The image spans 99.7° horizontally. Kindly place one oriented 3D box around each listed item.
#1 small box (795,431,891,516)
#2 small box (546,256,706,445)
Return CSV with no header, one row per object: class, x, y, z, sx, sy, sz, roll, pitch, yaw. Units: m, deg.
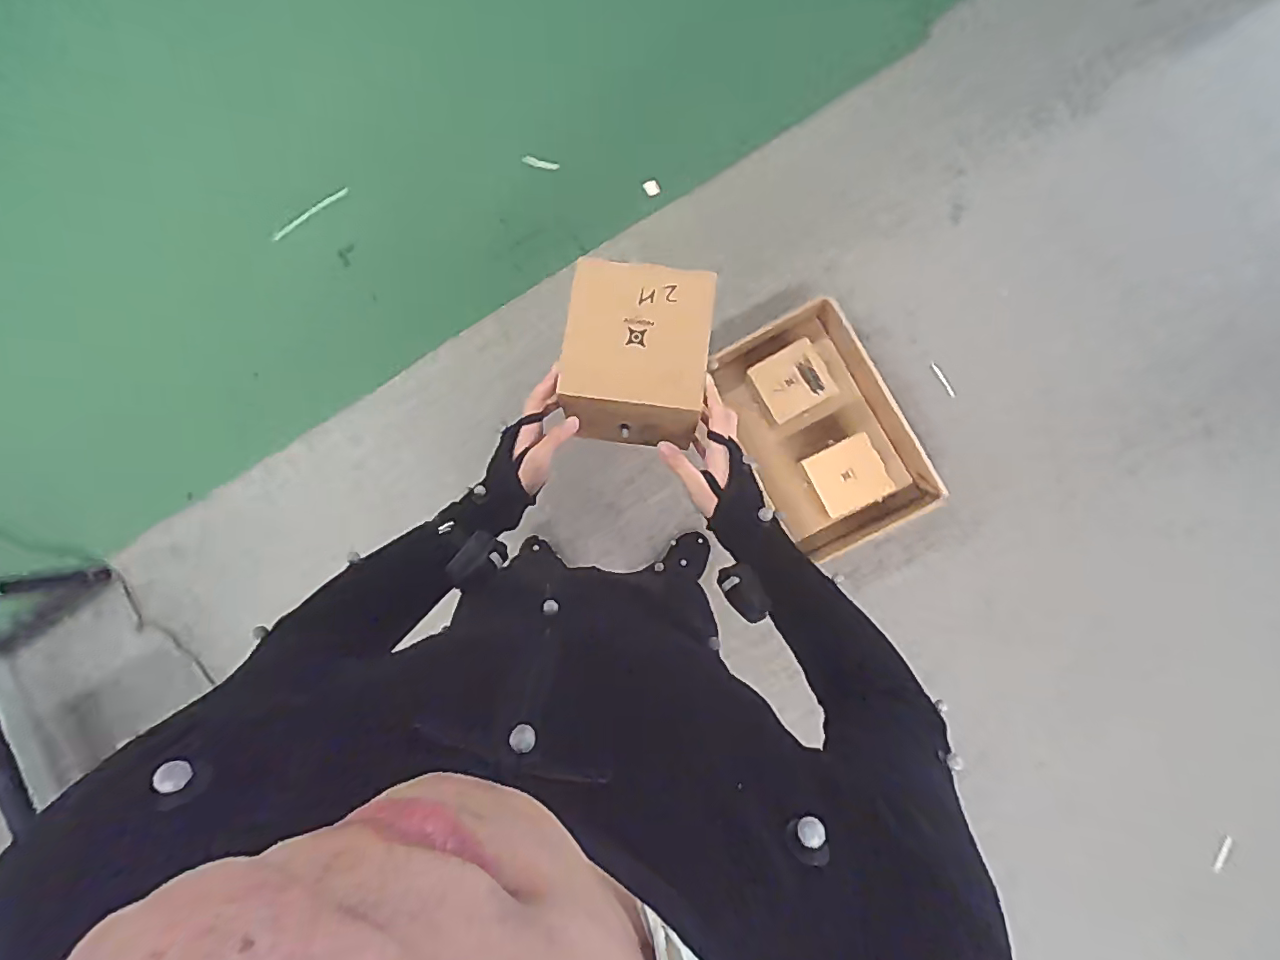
small box,0.529,-0.011,1.441,0.179,0.176,0.168,-27,85,6
small box,-0.013,-0.153,0.694,0.168,0.176,0.179,7,78,1
